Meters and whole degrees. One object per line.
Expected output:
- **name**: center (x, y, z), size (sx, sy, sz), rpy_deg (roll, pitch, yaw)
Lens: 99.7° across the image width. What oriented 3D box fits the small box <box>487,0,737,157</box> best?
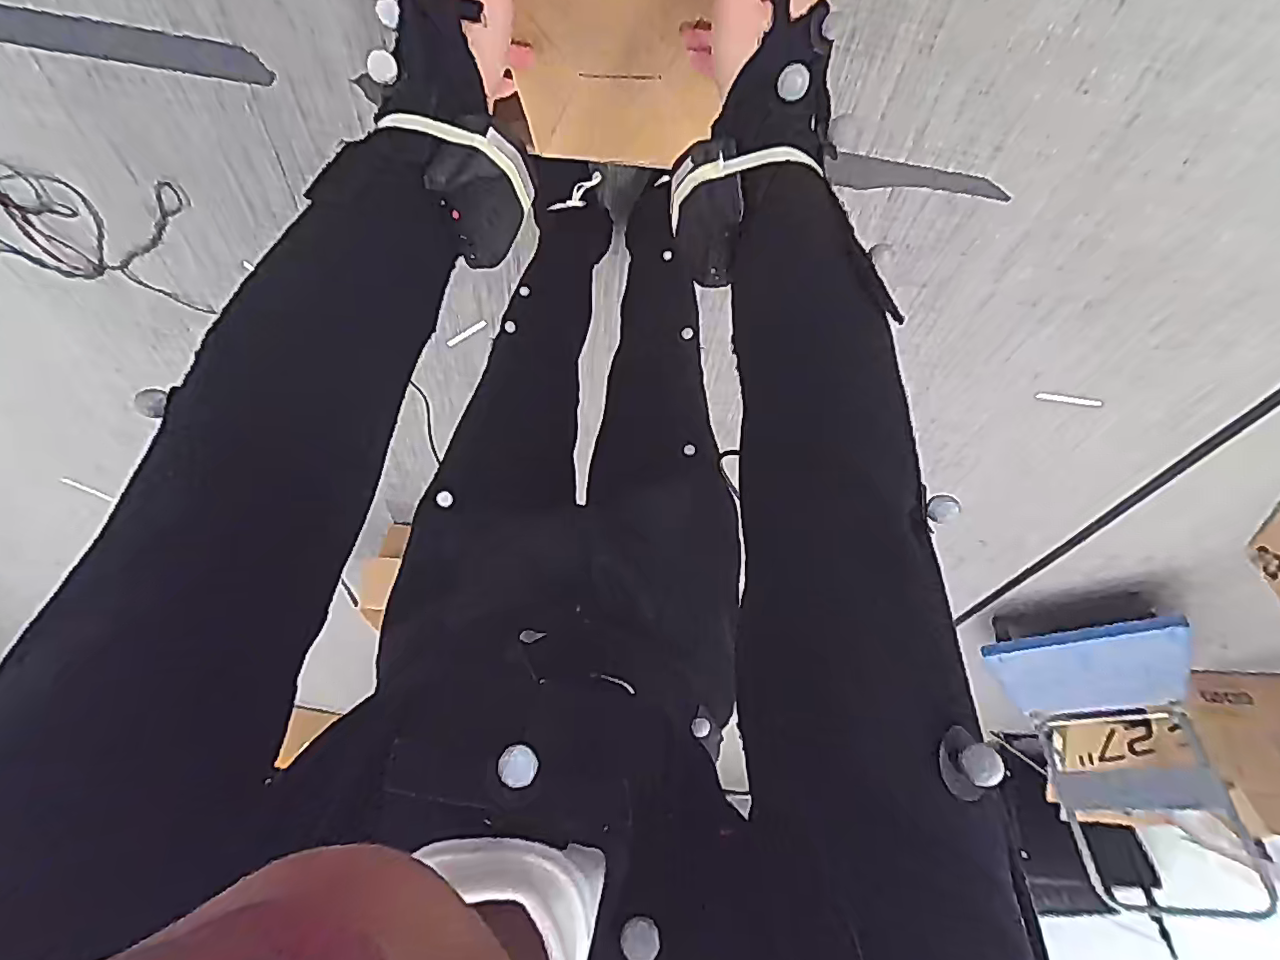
- **small box**: center (-0.008, -0.375, 0.413), size (0.168, 0.176, 0.179), rpy_deg (5, 174, 4)
